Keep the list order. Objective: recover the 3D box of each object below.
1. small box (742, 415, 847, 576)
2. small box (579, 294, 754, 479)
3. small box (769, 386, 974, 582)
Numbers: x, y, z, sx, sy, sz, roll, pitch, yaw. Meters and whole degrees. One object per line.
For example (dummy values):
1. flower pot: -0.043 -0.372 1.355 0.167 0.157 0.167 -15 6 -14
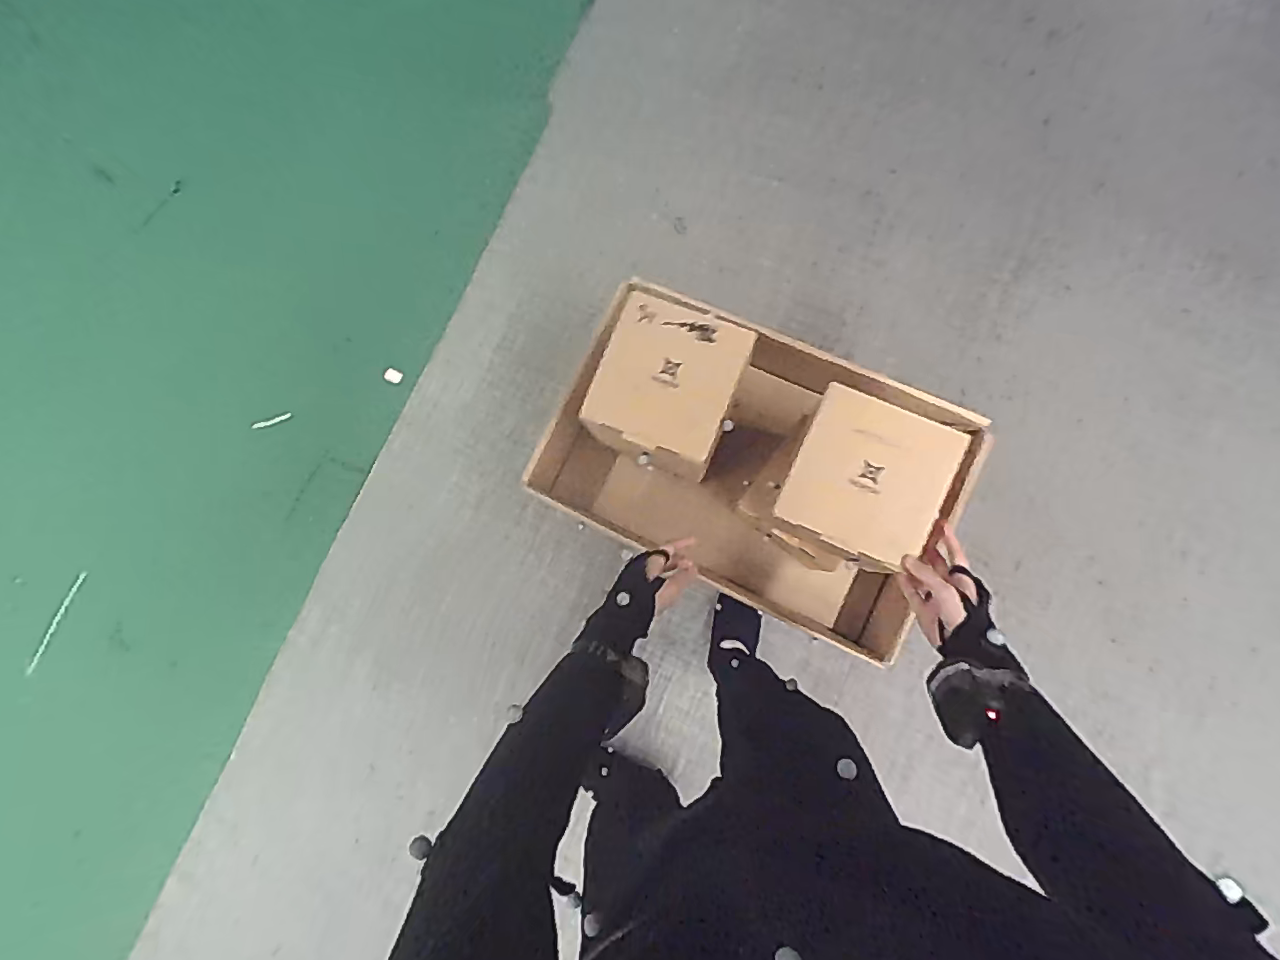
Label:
1. small box: 0.272 0.029 0.850 0.168 0.176 0.179 36 90 11
2. small box: 0.041 -0.112 0.727 0.168 0.176 0.179 22 87 9
3. small box: 0.274 0.011 0.685 0.168 0.176 0.179 25 87 10
